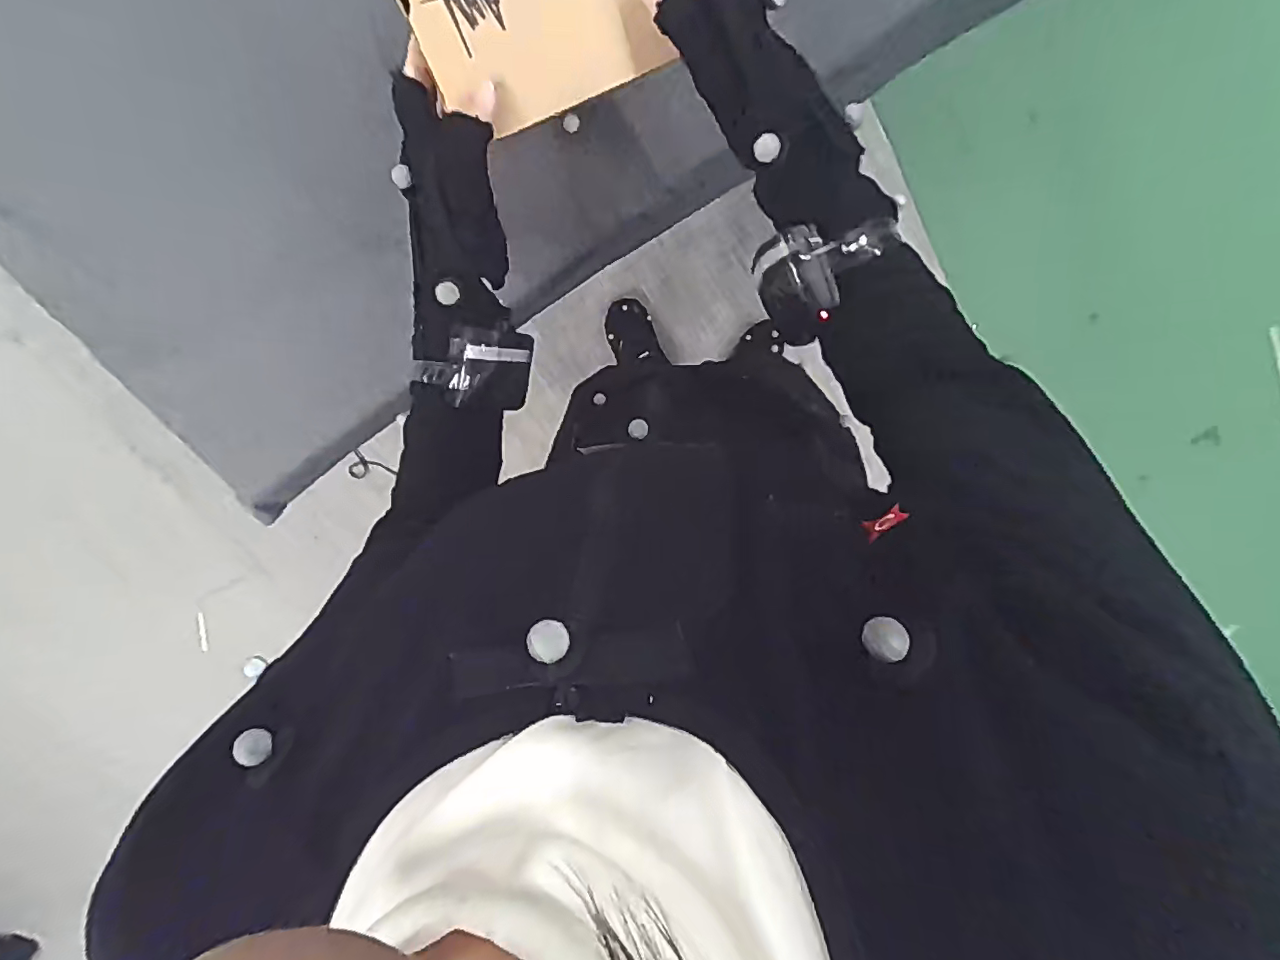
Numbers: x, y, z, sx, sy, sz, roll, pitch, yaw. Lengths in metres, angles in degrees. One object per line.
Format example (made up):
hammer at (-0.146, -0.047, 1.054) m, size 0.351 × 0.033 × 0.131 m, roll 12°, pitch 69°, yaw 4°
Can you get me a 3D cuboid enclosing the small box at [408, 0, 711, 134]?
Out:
small box at (-0.068, -0.362, 0.377) m, size 0.179 × 0.176 × 0.168 m, roll -20°, pitch 124°, yaw 5°
